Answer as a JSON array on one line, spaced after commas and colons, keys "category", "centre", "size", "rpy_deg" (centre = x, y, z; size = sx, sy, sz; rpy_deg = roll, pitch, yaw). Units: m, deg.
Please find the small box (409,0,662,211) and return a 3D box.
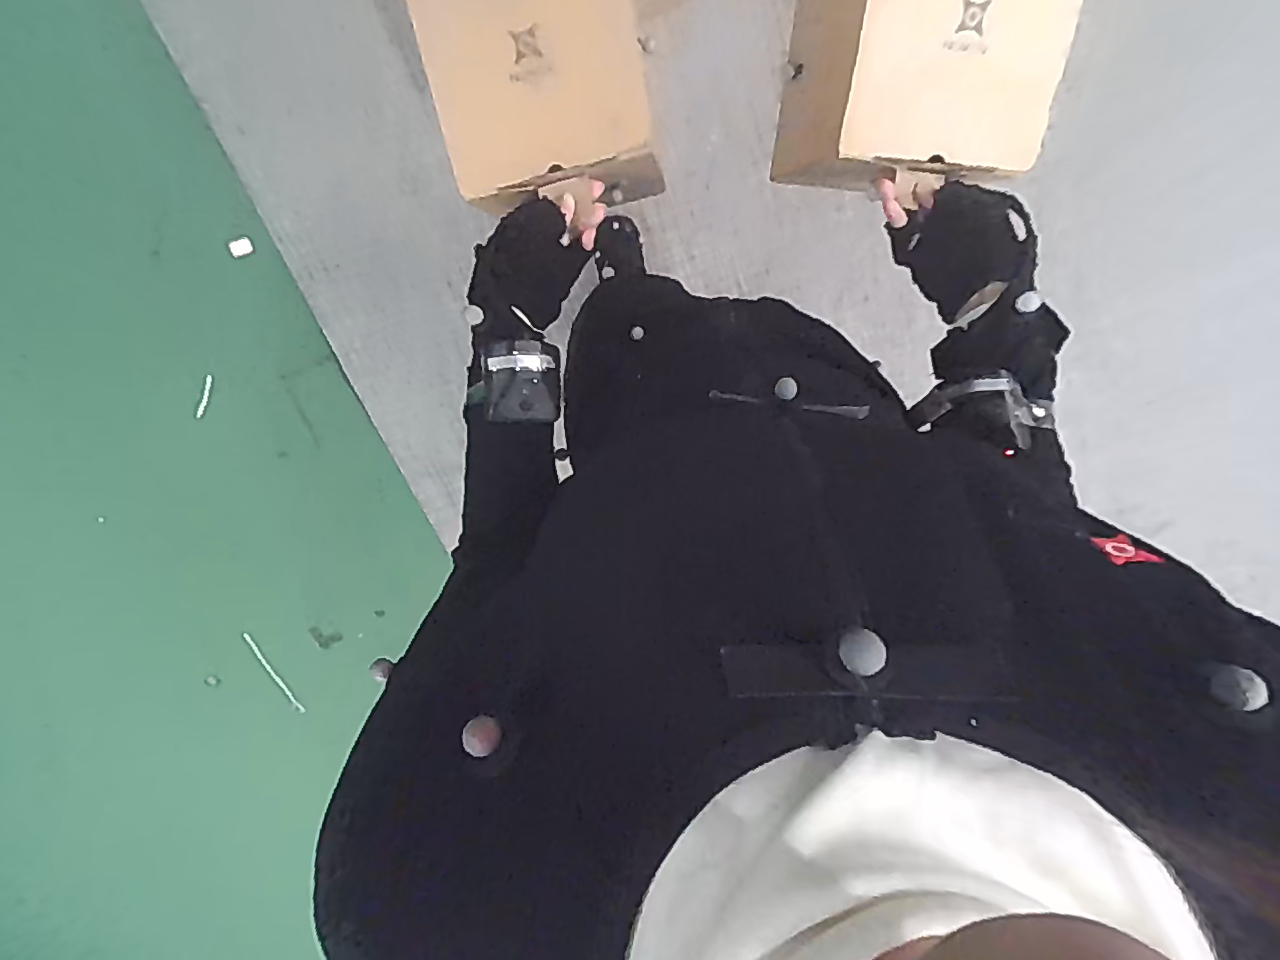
[{"category": "small box", "centre": [-0.078, -0.358, 0.485], "size": [0.168, 0.176, 0.179], "rpy_deg": [-11, 105, 8]}]
